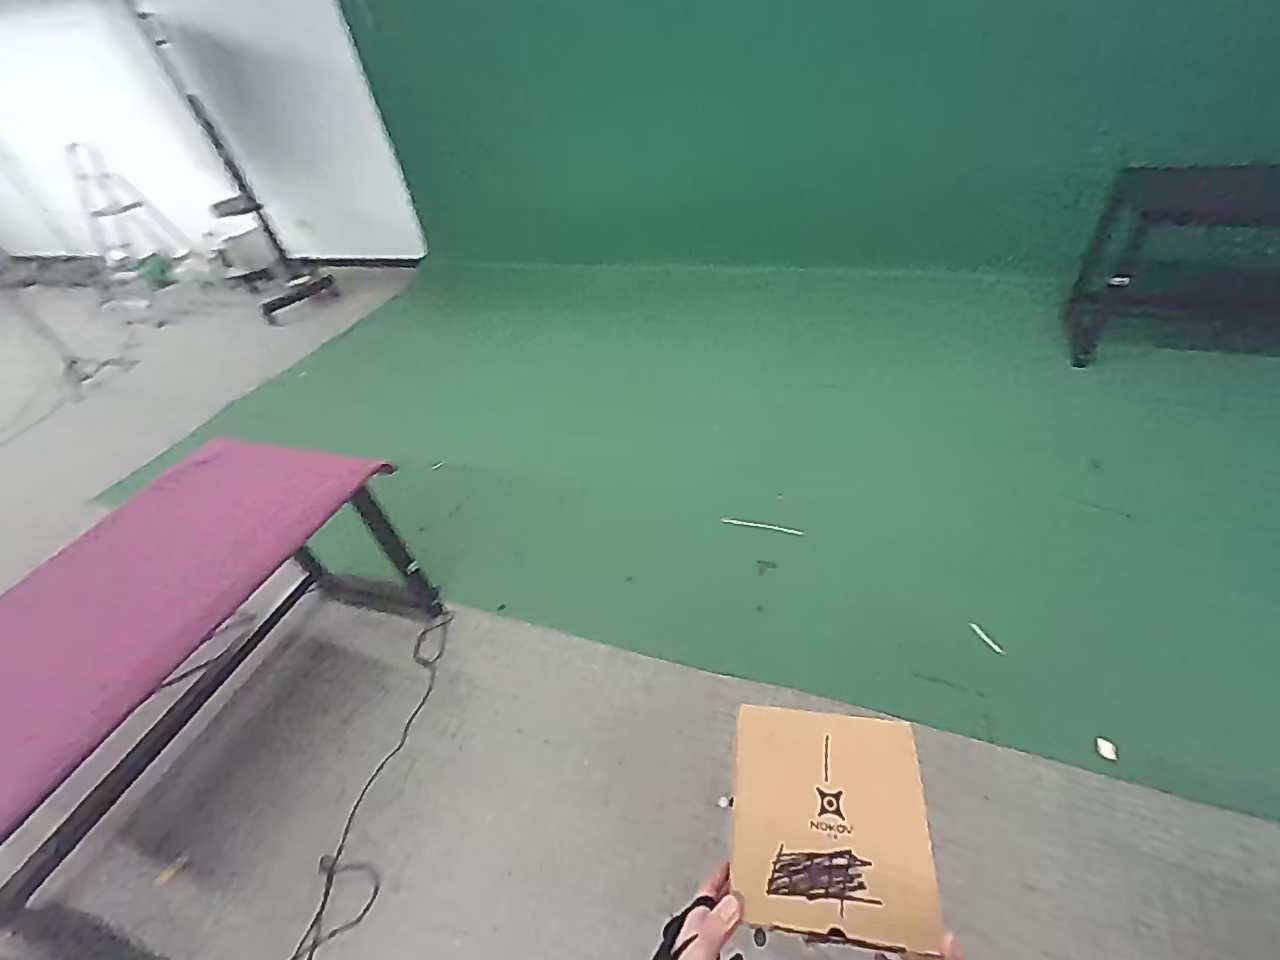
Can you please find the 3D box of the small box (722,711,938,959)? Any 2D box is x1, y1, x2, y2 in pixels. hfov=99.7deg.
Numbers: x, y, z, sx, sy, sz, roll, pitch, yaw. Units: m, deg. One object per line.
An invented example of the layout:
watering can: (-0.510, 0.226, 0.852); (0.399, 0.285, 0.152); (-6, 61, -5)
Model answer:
small box: (0.171, 0.352, 0.542); (0.168, 0.176, 0.179); (3, 53, 8)
